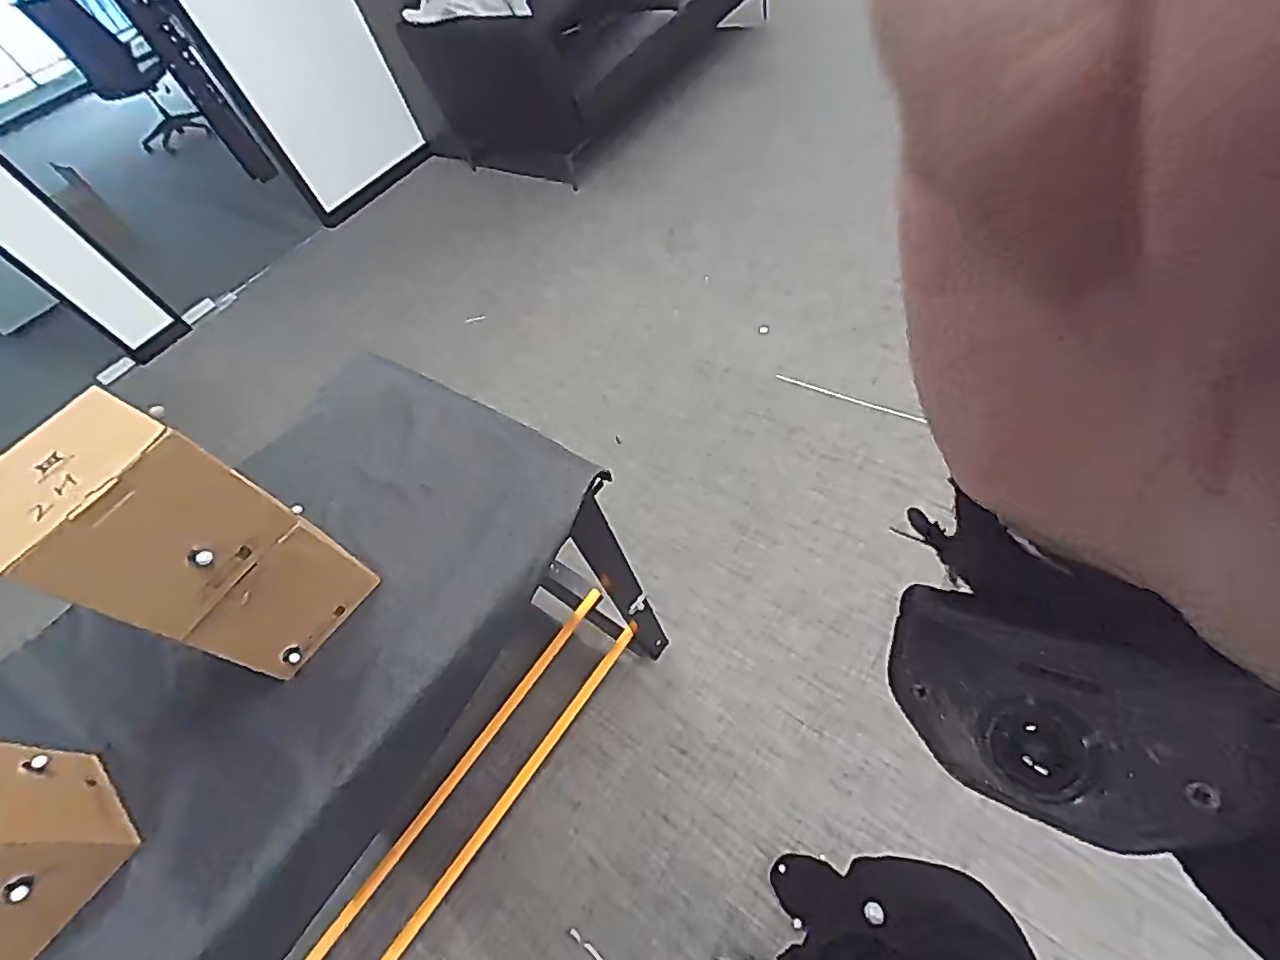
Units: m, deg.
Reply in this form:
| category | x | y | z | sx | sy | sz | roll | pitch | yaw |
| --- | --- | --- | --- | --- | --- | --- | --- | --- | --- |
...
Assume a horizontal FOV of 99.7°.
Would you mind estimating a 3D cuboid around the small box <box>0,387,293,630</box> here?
| category | x | y | z | sx | sy | sz | roll | pitch | yaw |
| --- | --- | --- | --- | --- | --- | --- | --- | --- | --- |
| small box | -0.526 | 0.033 | 0.570 | 0.179 | 0.176 | 0.168 | 20 | 63 | 26 |

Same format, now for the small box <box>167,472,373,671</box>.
| category | x | y | z | sx | sy | sz | roll | pitch | yaw |
| --- | --- | --- | --- | --- | --- | --- | --- | --- | --- |
| small box | -0.493 | 0.125 | 0.703 | 0.179 | 0.176 | 0.168 | 25 | 64 | 29 |

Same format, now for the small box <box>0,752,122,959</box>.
| category | x | y | z | sx | sy | sz | roll | pitch | yaw |
| --- | --- | --- | --- | --- | --- | --- | --- | --- | --- |
| small box | -0.696 | 0.402 | 0.555 | 0.168 | 0.176 | 0.179 | 25 | 65 | 29 |
